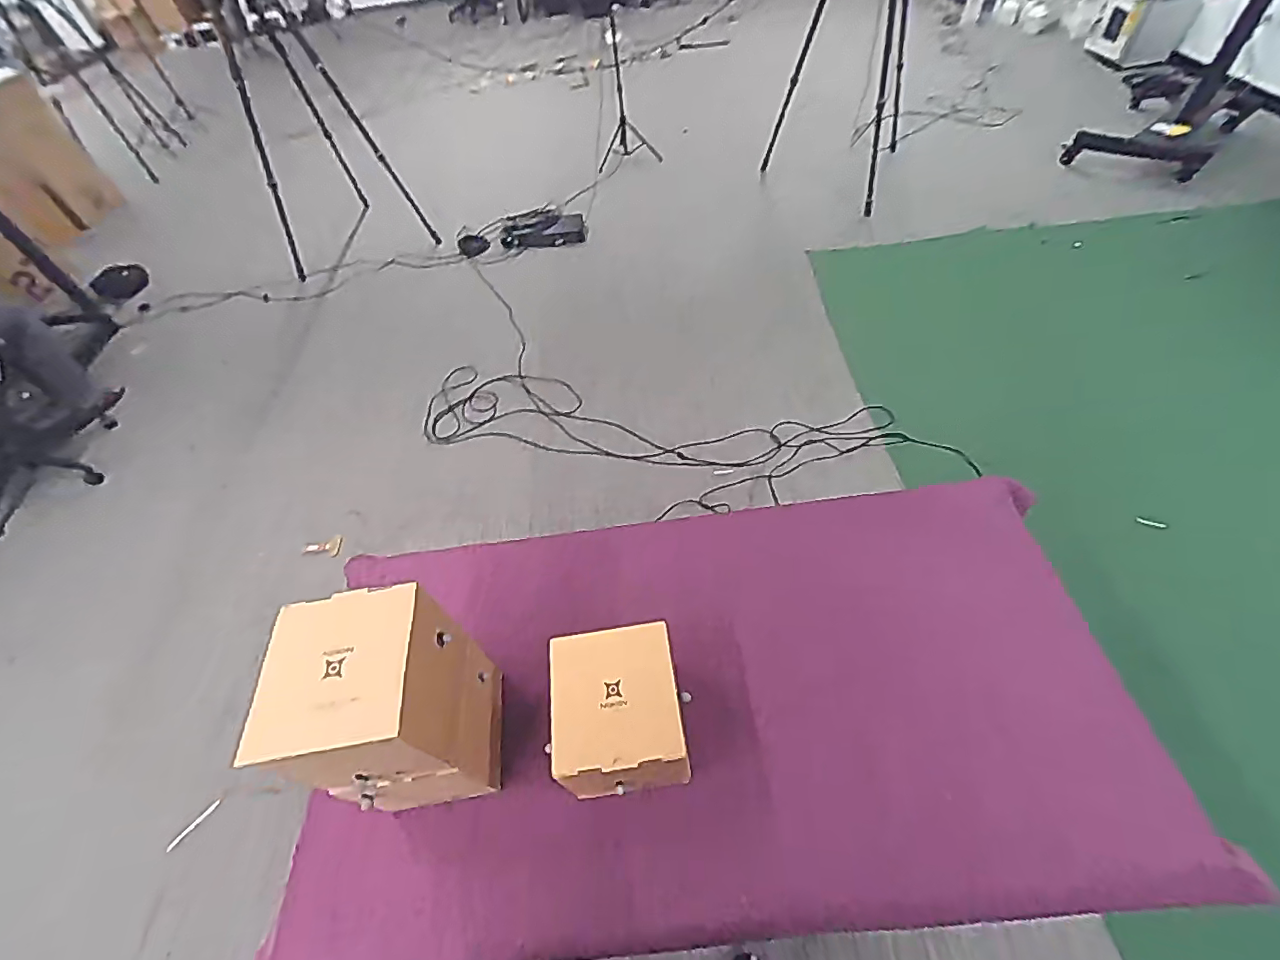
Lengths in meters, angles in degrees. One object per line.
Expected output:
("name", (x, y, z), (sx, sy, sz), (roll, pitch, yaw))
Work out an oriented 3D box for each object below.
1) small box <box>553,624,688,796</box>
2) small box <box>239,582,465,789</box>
("small box", (-0.026, 0.327, 0.764), (0.168, 0.176, 0.179), (-9, 53, 0))
("small box", (-0.319, 0.248, 0.647), (0.168, 0.176, 0.179), (-9, 52, -1))
